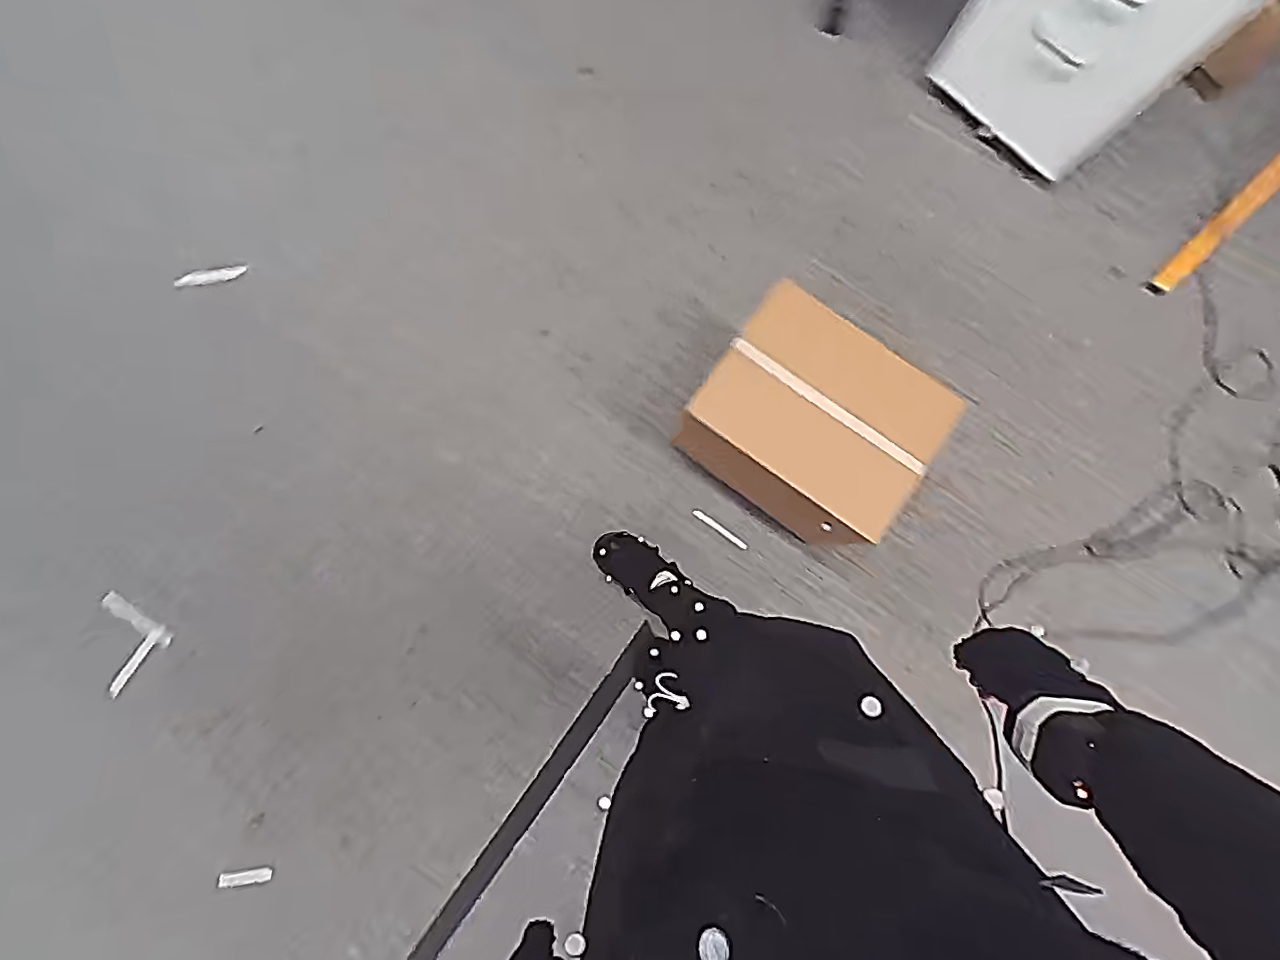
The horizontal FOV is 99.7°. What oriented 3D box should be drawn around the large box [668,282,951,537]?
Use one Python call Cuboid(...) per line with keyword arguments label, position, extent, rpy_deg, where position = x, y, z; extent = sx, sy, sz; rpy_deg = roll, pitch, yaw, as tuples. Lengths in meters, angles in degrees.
Cuboid(label="large box", position=(0.314, -0.116, 1.117), extent=(0.408, 0.320, 0.320), rpy_deg=(36, 82, 3))
